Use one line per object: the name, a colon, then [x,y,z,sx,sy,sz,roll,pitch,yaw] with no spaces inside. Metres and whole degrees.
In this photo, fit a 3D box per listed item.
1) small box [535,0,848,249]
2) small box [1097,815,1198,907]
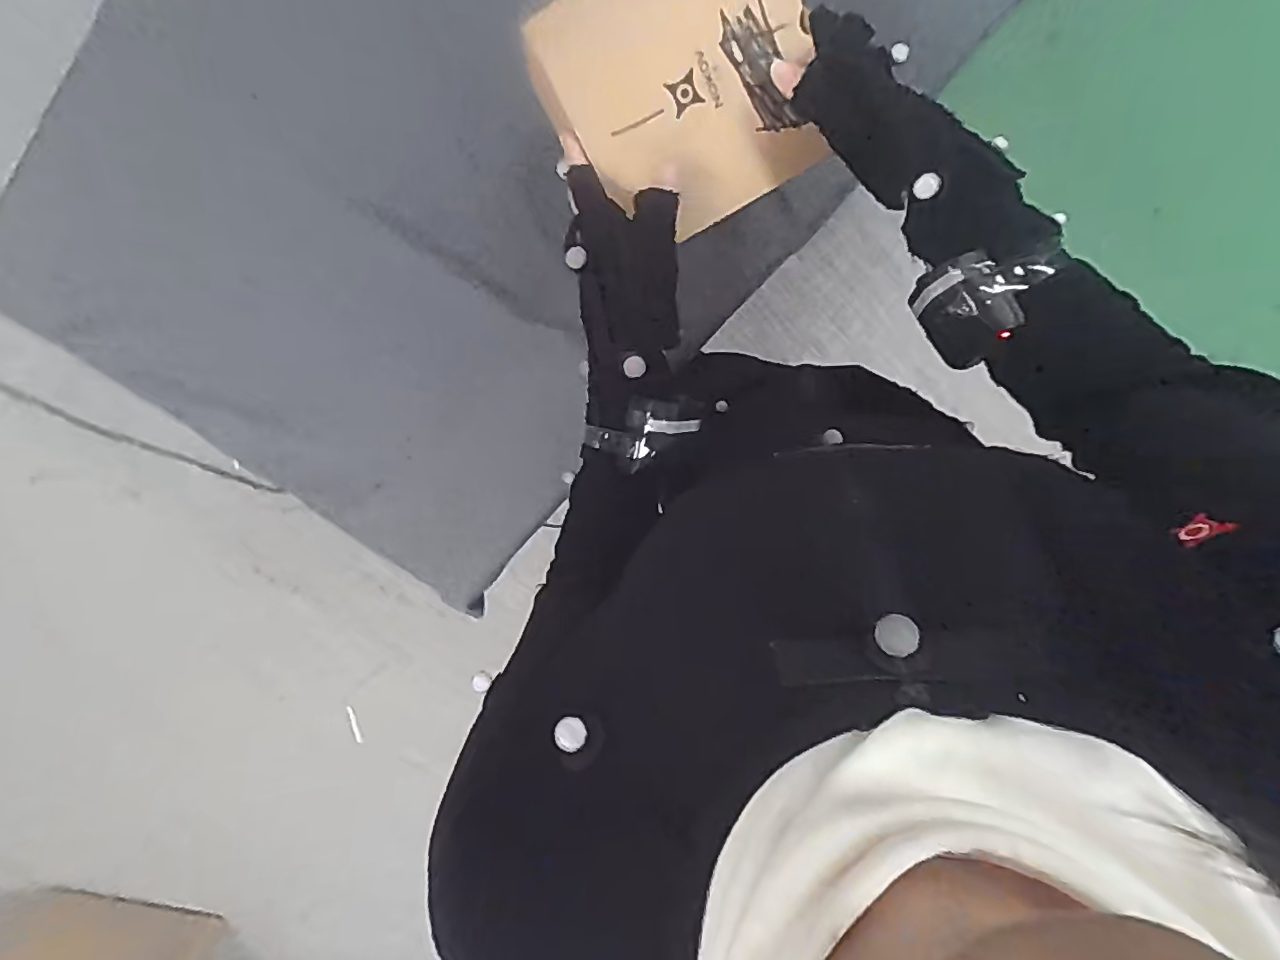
small box: [0.031,-0.309,0.433,0.179,0.176,0.168,-26,118,5]
small box: [1.736,1.310,1.865,0.179,0.176,0.168,-41,109,10]
